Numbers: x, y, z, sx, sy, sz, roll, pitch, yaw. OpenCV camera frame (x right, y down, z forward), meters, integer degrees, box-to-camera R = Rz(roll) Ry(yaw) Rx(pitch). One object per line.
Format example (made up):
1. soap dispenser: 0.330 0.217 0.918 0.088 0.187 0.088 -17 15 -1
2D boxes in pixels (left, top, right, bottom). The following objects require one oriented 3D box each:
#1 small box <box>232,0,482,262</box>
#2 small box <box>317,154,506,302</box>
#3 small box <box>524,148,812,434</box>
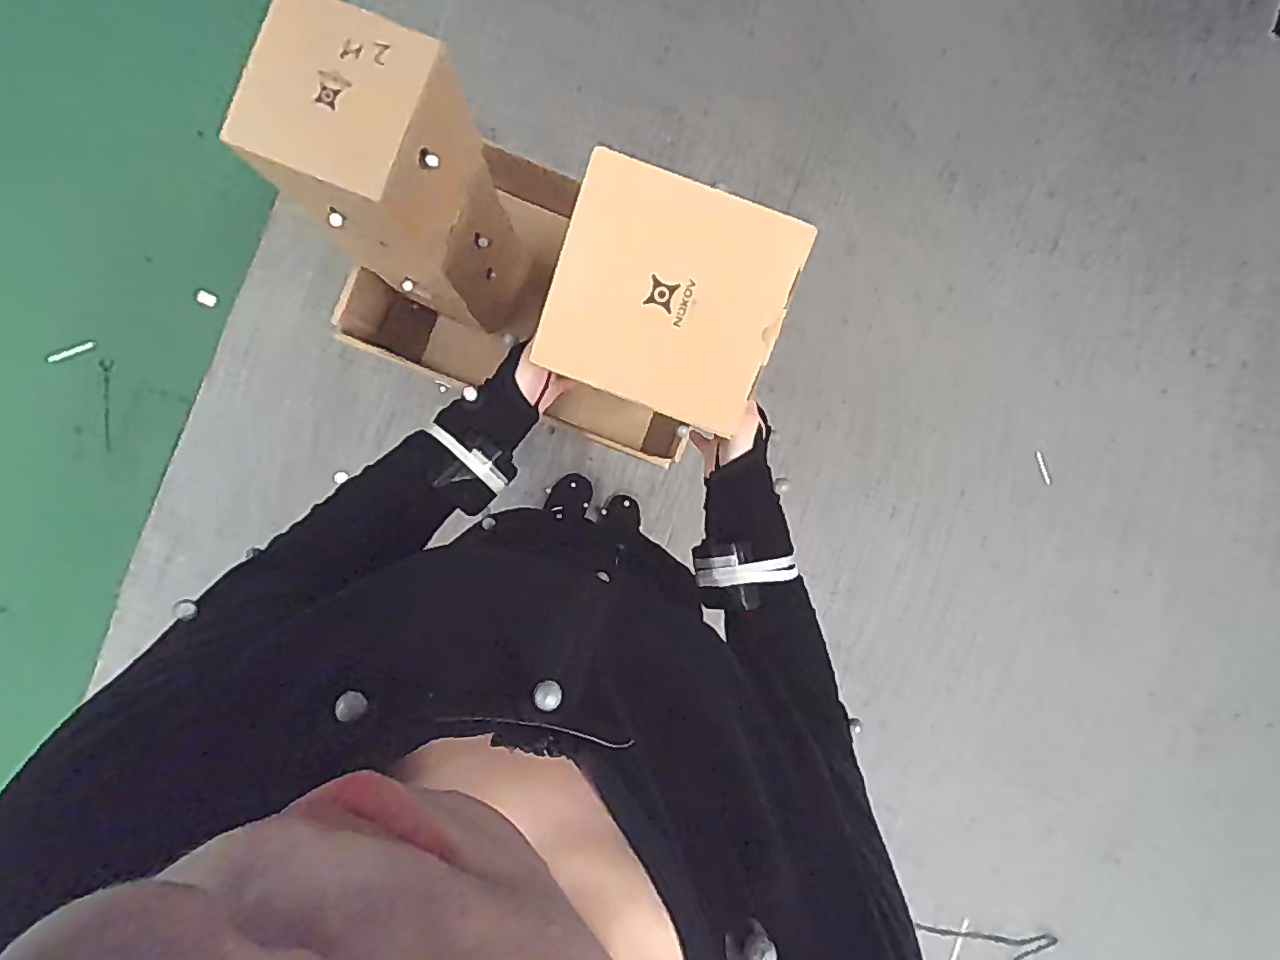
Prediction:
1. small box: -0.300 -0.382 0.616 0.168 0.176 0.179 22 88 -2
2. small box: -0.312 -0.379 0.781 0.179 0.176 0.168 20 88 -2
3. small box: 0.023 -0.151 0.483 0.179 0.176 0.168 20 101 0
